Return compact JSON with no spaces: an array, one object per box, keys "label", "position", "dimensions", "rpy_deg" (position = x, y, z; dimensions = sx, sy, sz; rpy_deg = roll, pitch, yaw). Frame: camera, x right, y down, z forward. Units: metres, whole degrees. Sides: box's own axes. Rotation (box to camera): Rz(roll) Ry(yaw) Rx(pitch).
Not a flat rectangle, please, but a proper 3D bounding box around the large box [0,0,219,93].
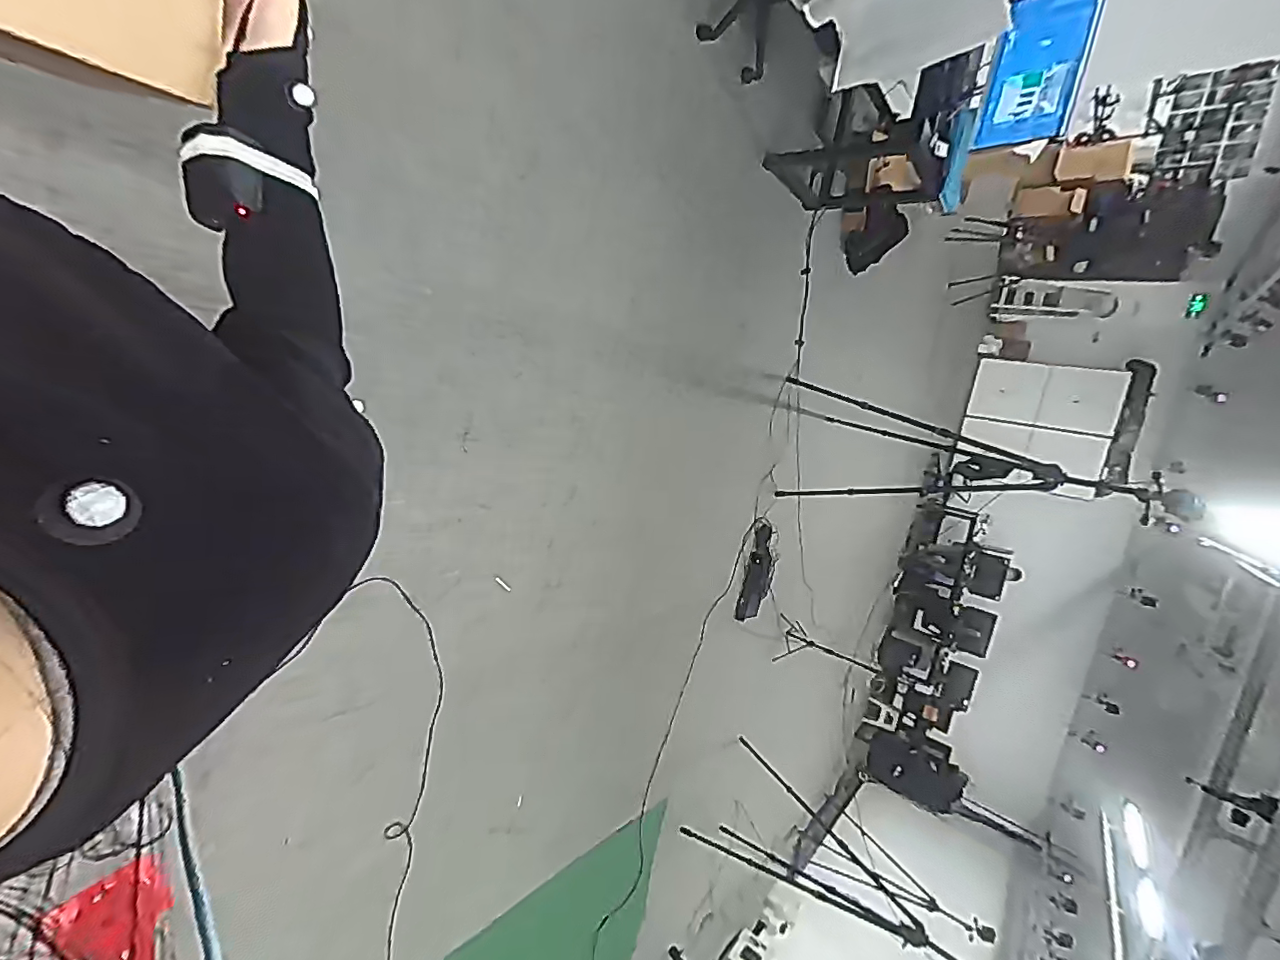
[{"label":"large box","position":[-0.532,-0.480,0.300],"dimensions":[0.408,0.320,0.320],"rpy_deg":[-13,124,-55]}]
